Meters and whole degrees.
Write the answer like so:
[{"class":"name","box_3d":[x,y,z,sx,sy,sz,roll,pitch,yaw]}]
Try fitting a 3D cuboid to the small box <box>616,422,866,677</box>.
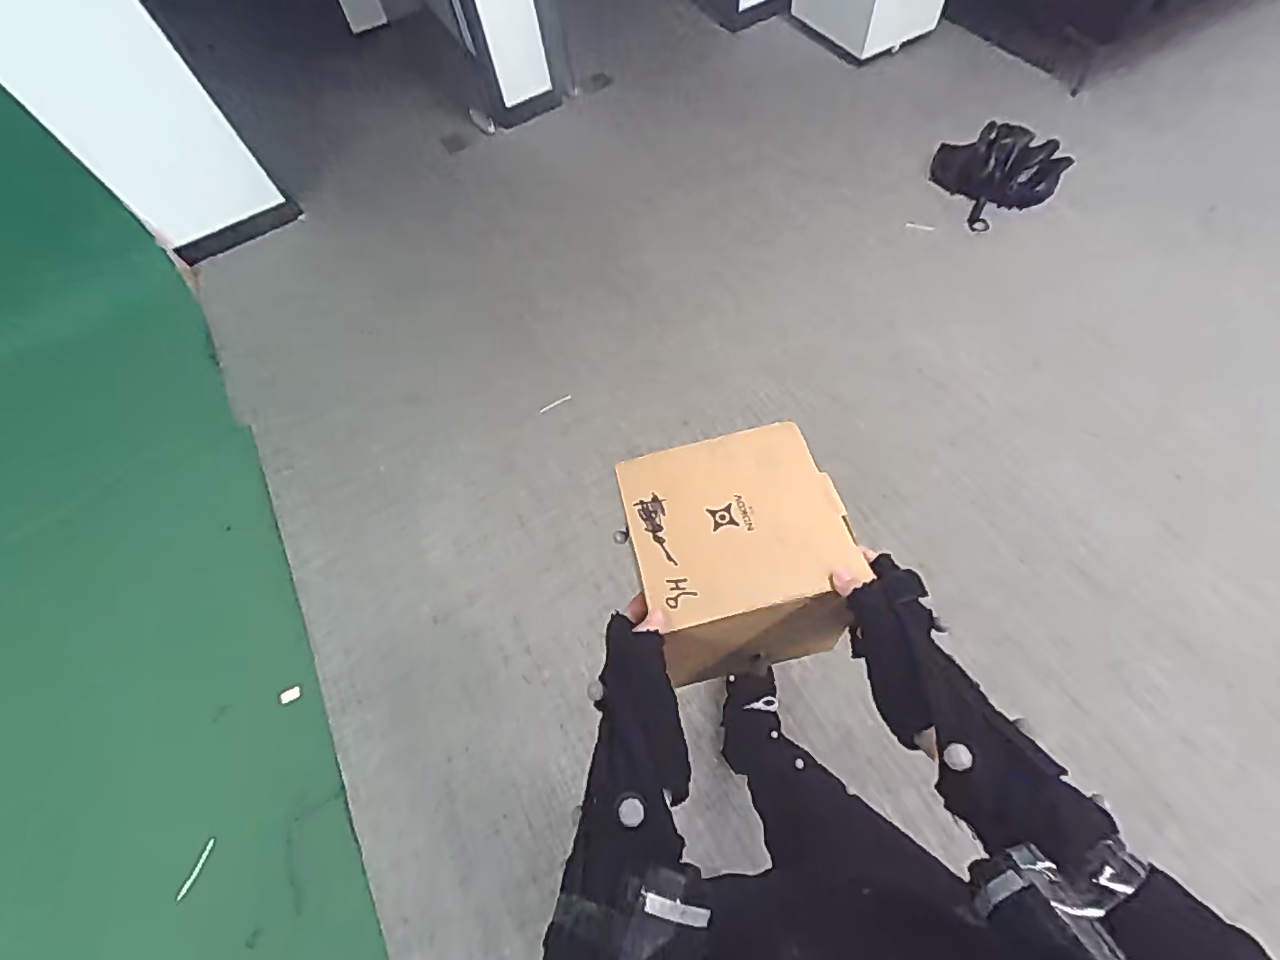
[{"class":"small box","box_3d":[0.082,0.073,0.524,0.179,0.176,0.168,-12,54,-4]}]
